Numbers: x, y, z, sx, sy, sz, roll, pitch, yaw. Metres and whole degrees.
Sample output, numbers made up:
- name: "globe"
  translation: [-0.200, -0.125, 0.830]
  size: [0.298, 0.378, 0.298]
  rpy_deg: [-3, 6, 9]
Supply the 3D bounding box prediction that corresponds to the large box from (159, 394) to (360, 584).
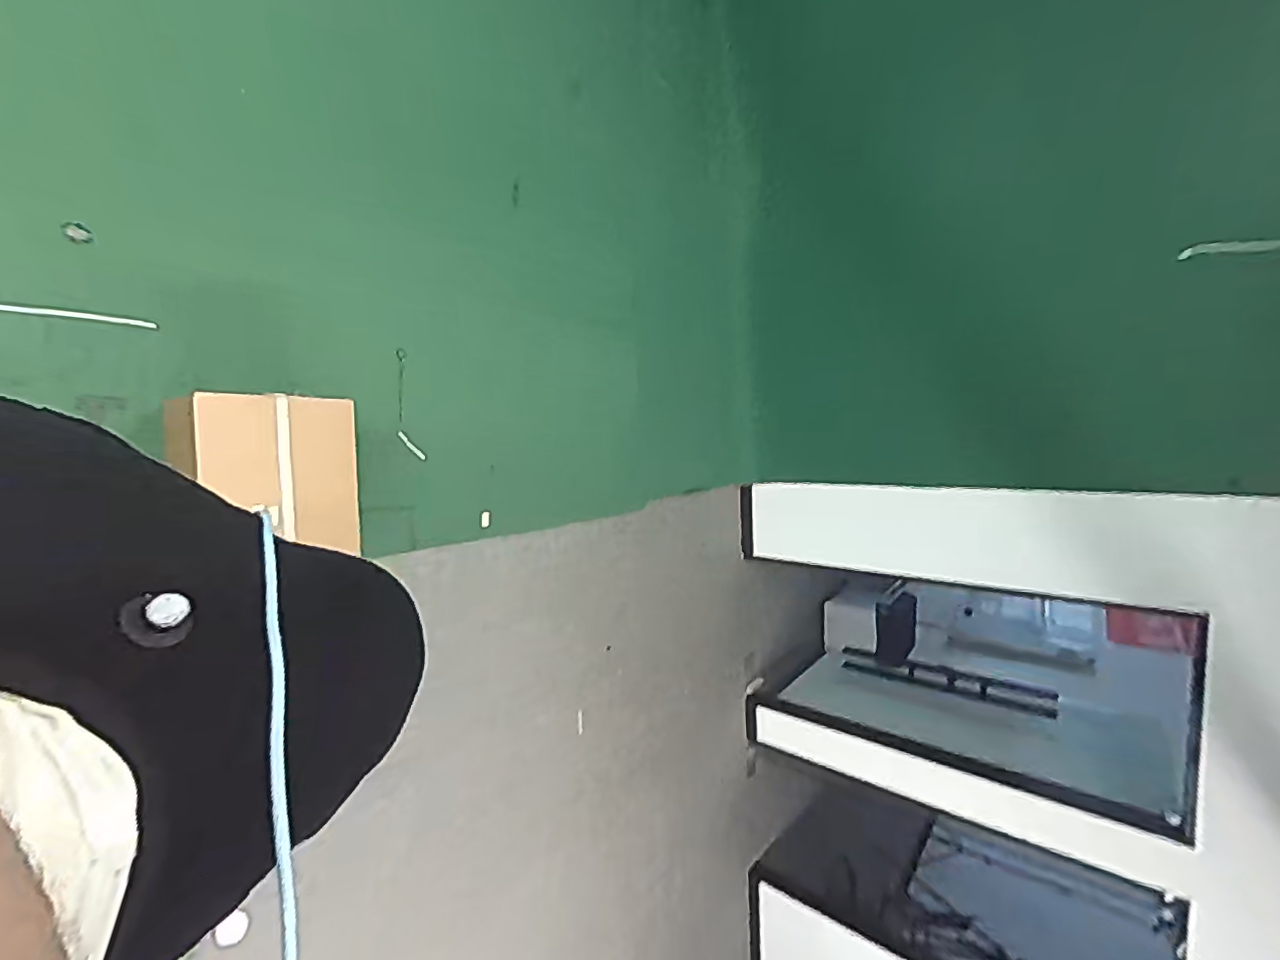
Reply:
- name: "large box"
  translation: [-0.920, 0.004, 1.314]
  size: [0.320, 0.320, 0.408]
  rpy_deg: [-6, 97, -50]
